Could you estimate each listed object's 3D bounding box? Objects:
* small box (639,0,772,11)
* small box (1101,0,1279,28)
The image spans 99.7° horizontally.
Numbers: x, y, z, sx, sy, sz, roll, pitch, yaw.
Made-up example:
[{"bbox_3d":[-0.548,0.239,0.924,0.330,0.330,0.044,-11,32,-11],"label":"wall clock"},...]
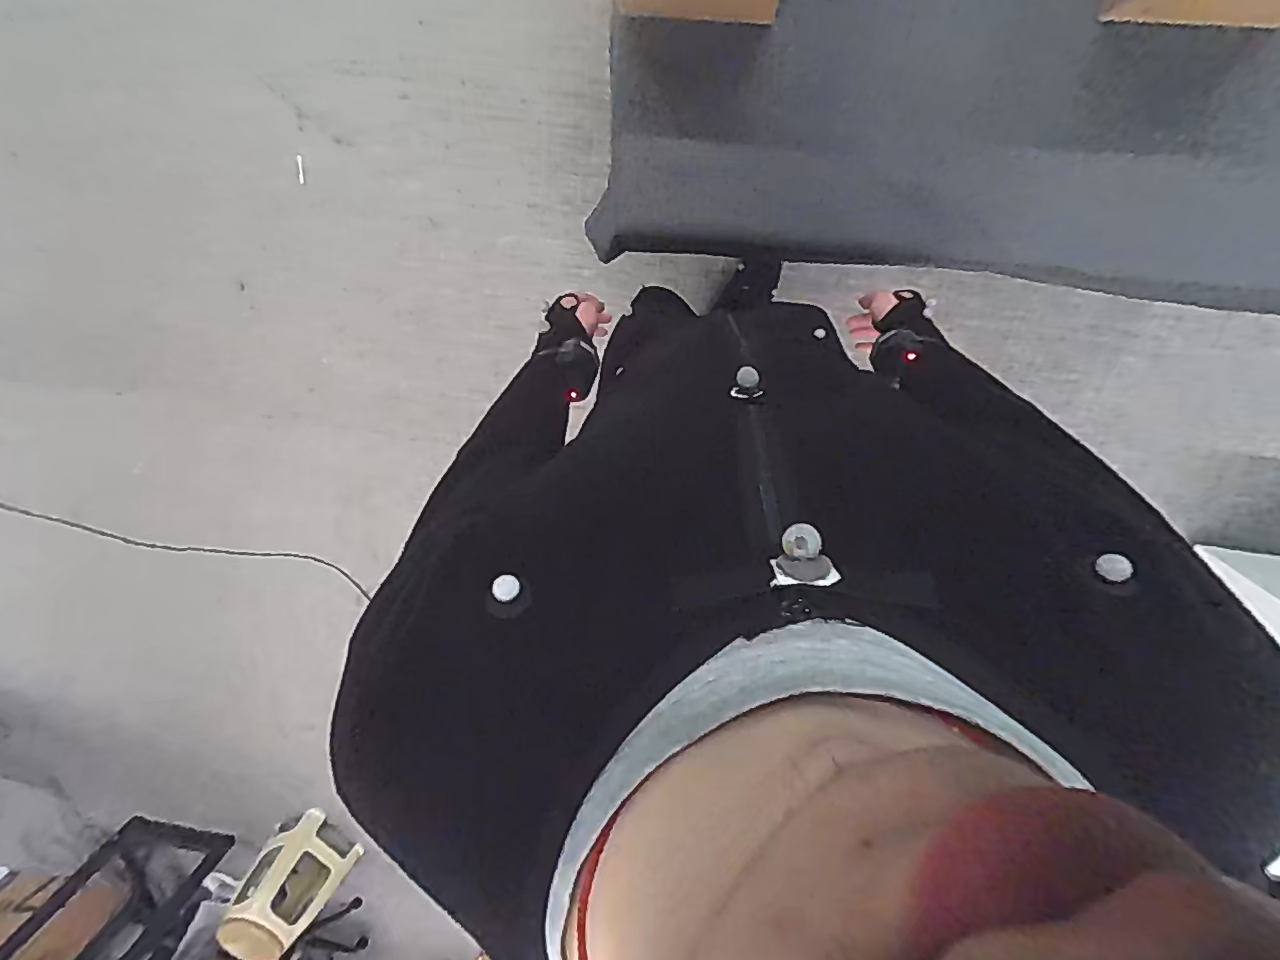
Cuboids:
[{"bbox_3d":[0.062,-0.567,0.497,0.179,0.176,0.168,7,116,3],"label":"small box"},{"bbox_3d":[0.563,-0.517,0.459,0.179,0.176,0.168,8,114,5],"label":"small box"}]
